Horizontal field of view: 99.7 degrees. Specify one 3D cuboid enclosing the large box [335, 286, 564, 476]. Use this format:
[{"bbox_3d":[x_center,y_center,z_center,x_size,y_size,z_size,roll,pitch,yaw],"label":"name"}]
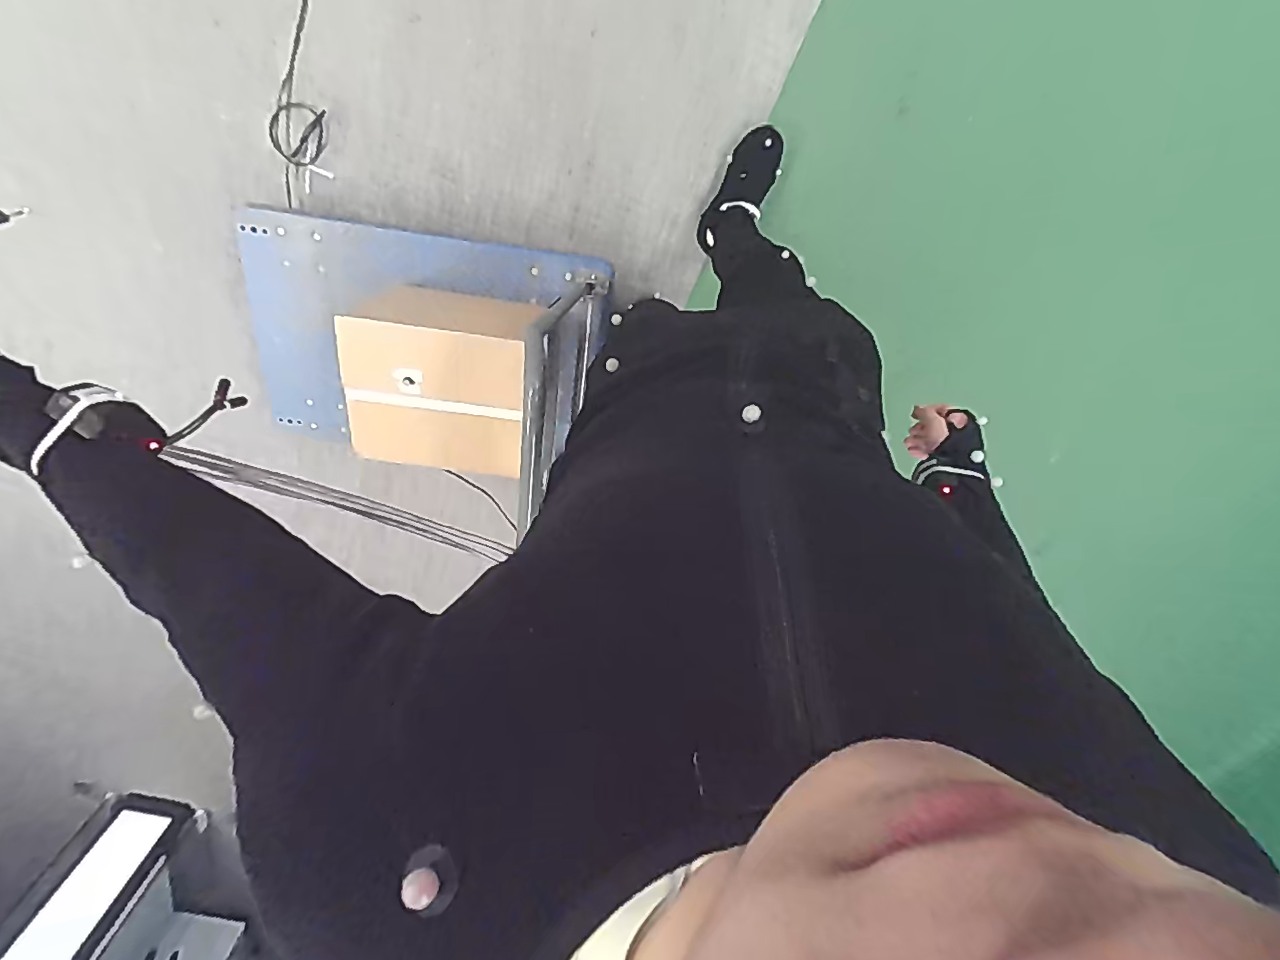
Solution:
[{"bbox_3d":[-0.397,-0.235,1.235,0.408,0.320,0.320,8,120,-2],"label":"large box"}]
